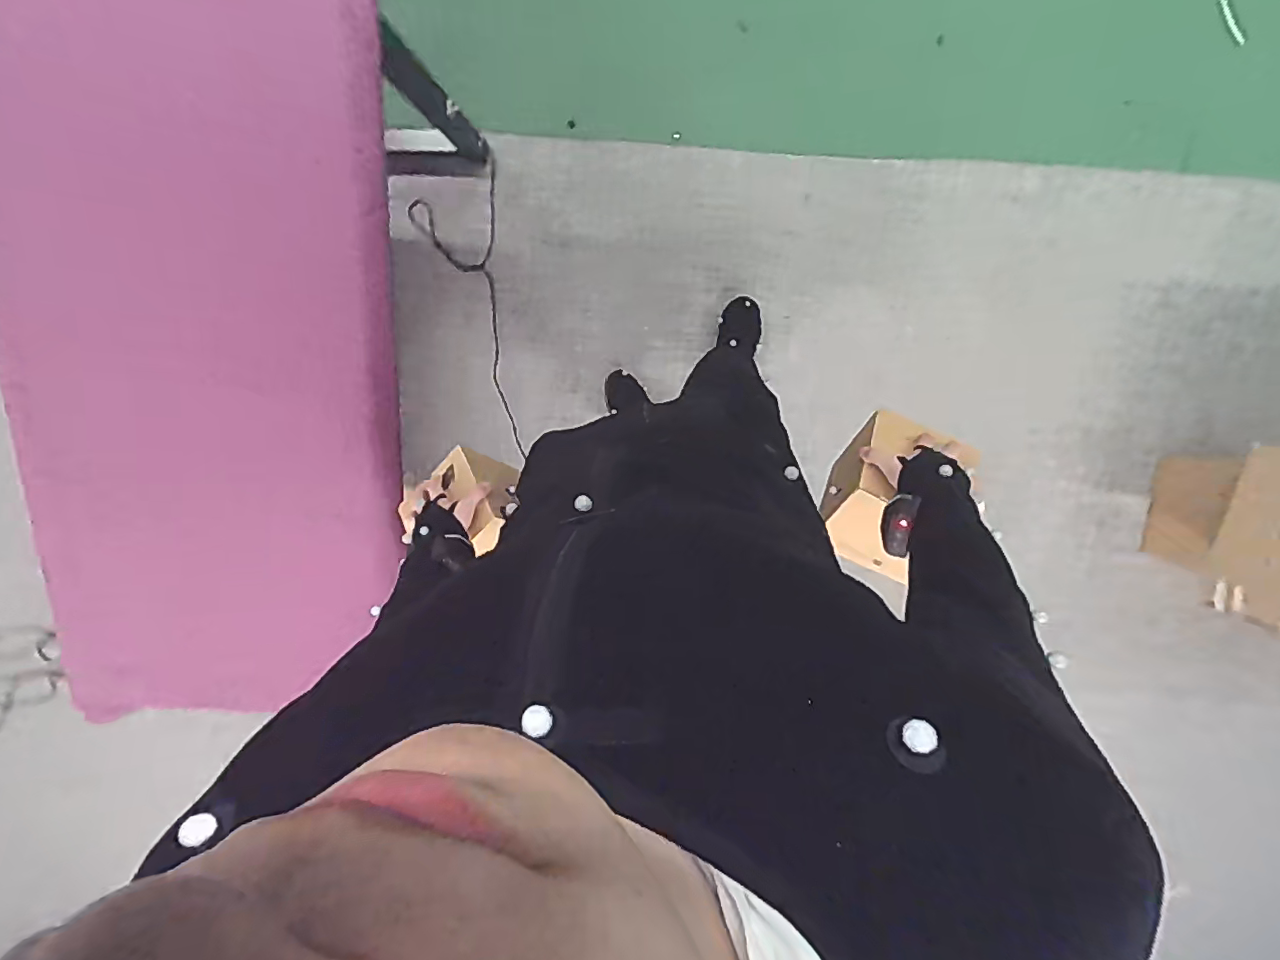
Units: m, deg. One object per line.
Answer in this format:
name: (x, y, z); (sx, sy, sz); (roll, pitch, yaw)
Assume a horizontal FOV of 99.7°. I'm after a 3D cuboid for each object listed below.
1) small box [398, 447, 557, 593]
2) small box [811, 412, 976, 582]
small box: (-0.280, 0.078, 0.944); (0.168, 0.176, 0.179); (-43, 59, 11)
small box: (0.392, 0.033, 0.855); (0.168, 0.179, 0.176); (26, 146, 6)
